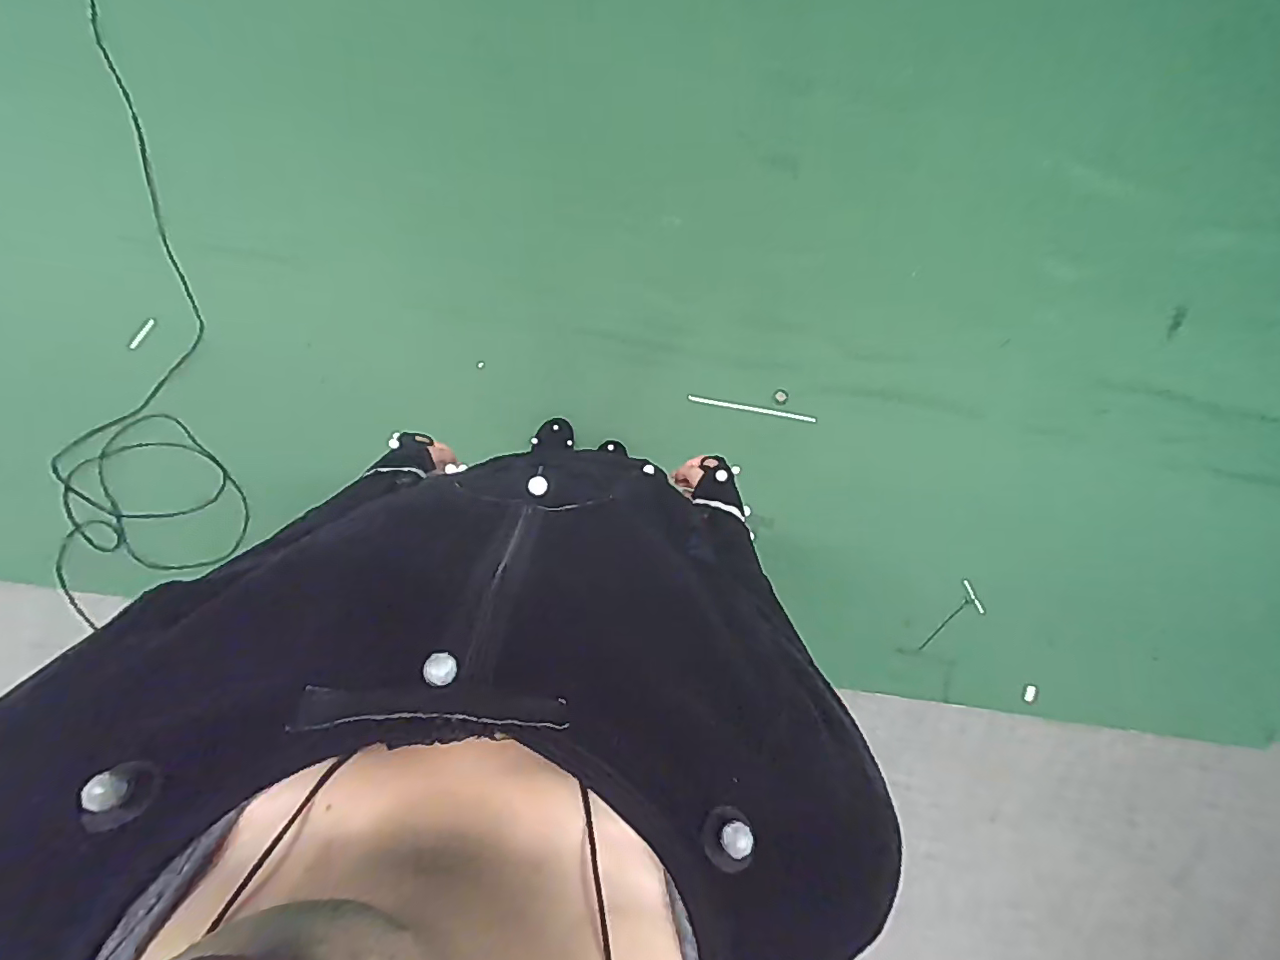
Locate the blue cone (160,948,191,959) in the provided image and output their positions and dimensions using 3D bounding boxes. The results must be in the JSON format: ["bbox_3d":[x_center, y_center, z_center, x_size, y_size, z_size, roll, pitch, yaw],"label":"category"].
[{"bbox_3d":[-1.267,1.413,1.318,0.193,0.380,0.192,-35,99,0],"label":"blue cone"}]
